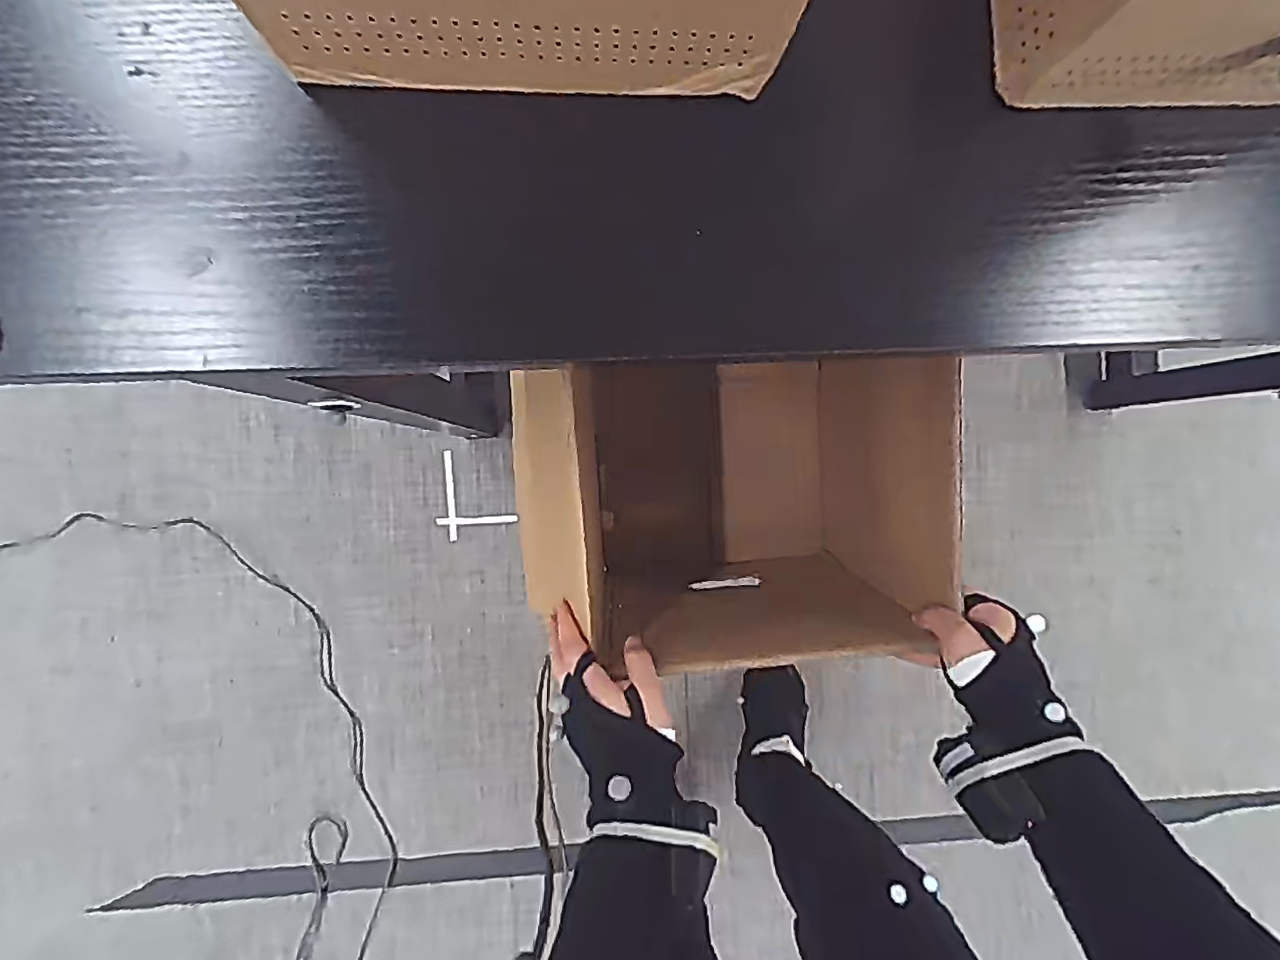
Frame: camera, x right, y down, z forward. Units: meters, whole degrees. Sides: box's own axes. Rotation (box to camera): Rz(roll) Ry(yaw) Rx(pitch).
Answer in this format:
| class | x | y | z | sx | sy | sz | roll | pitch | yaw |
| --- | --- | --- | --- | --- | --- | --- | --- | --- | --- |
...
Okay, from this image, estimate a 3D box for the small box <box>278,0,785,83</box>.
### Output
| class | x | y | z | sx | sy | sz | roll | pitch | yaw |
| --- | --- | --- | --- | --- | --- | --- | --- | --- | --- |
| small box | -0.029 | -0.225 | 0.117 | 0.179 | 0.176 | 0.168 | -2 | 92 | -6 |
